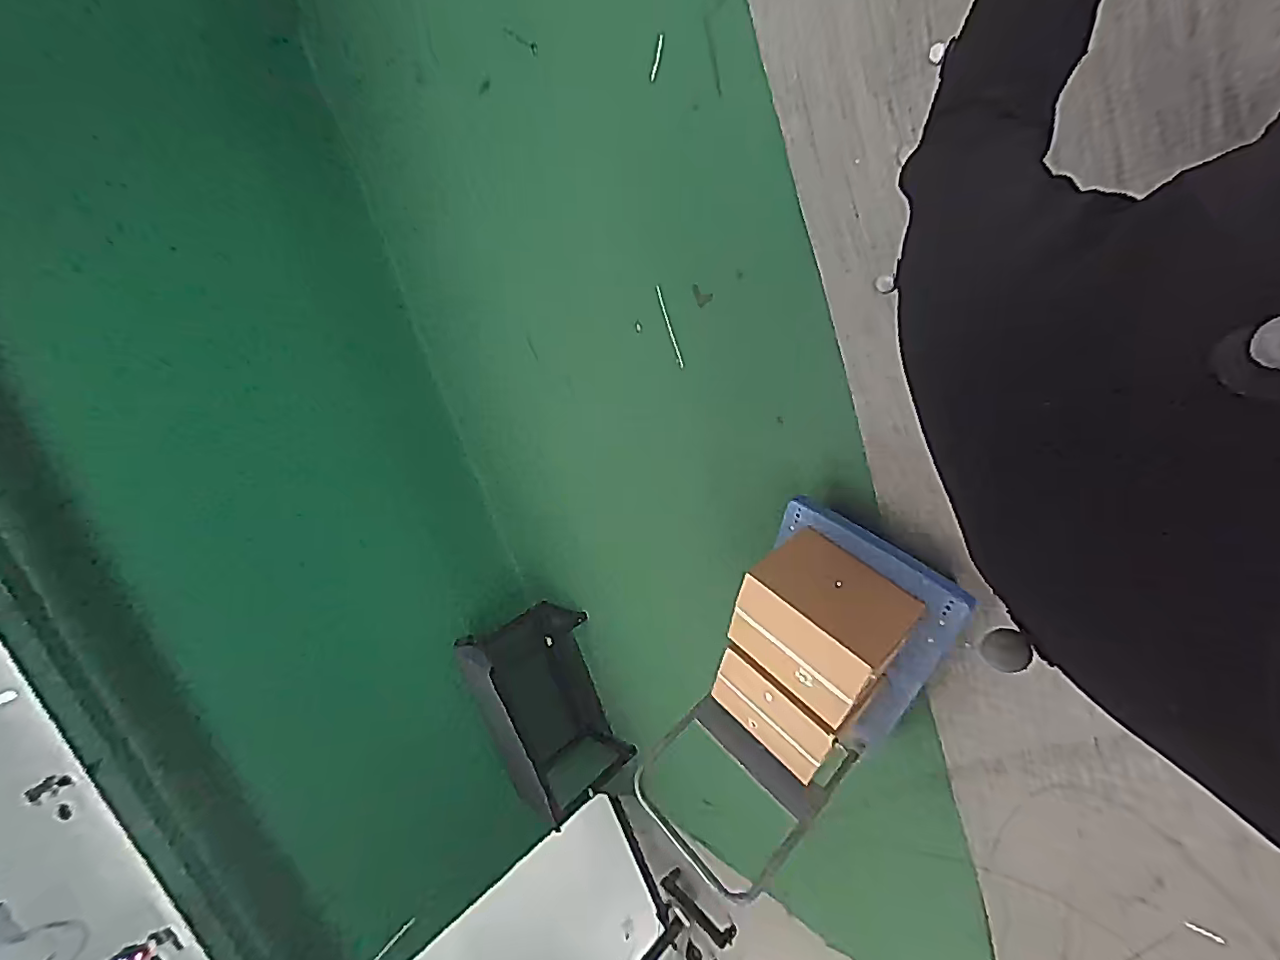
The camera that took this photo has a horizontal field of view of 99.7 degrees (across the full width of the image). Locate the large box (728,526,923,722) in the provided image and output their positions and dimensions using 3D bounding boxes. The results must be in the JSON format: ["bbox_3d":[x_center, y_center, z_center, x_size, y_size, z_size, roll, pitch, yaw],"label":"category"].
[{"bbox_3d":[0.534,0.406,1.606,0.408,0.320,0.320,36,138,31],"label":"large box"}]
